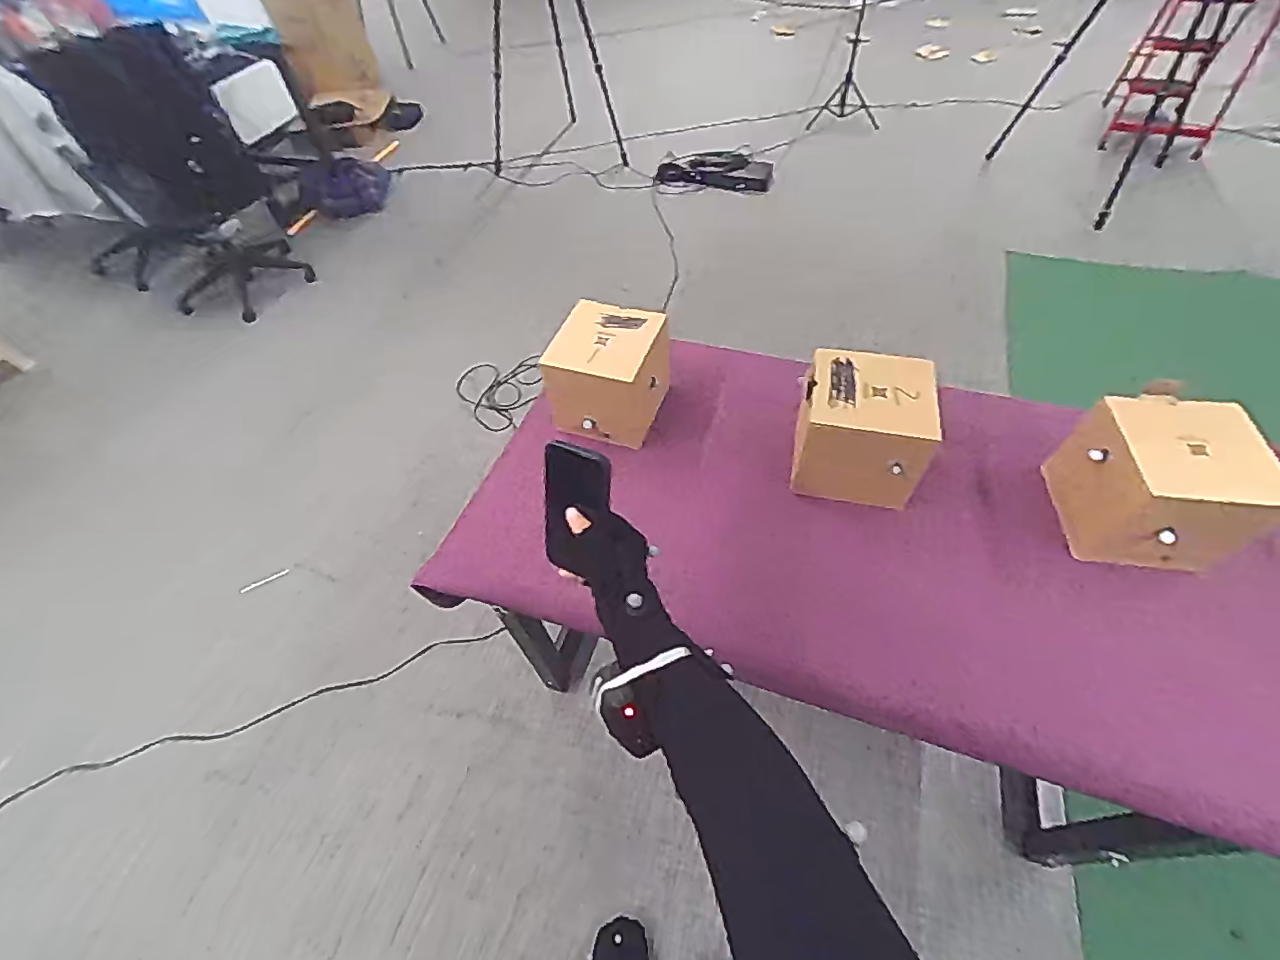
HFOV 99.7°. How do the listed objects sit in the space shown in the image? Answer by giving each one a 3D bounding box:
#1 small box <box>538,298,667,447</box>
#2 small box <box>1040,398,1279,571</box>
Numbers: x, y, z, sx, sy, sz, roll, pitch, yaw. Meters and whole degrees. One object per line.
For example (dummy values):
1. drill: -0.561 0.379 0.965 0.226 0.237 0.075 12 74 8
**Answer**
1. small box: -0.057 -0.188 0.955 0.168 0.176 0.179 15 57 15
2. small box: 0.707 0.010 0.754 0.168 0.176 0.179 5 53 9
